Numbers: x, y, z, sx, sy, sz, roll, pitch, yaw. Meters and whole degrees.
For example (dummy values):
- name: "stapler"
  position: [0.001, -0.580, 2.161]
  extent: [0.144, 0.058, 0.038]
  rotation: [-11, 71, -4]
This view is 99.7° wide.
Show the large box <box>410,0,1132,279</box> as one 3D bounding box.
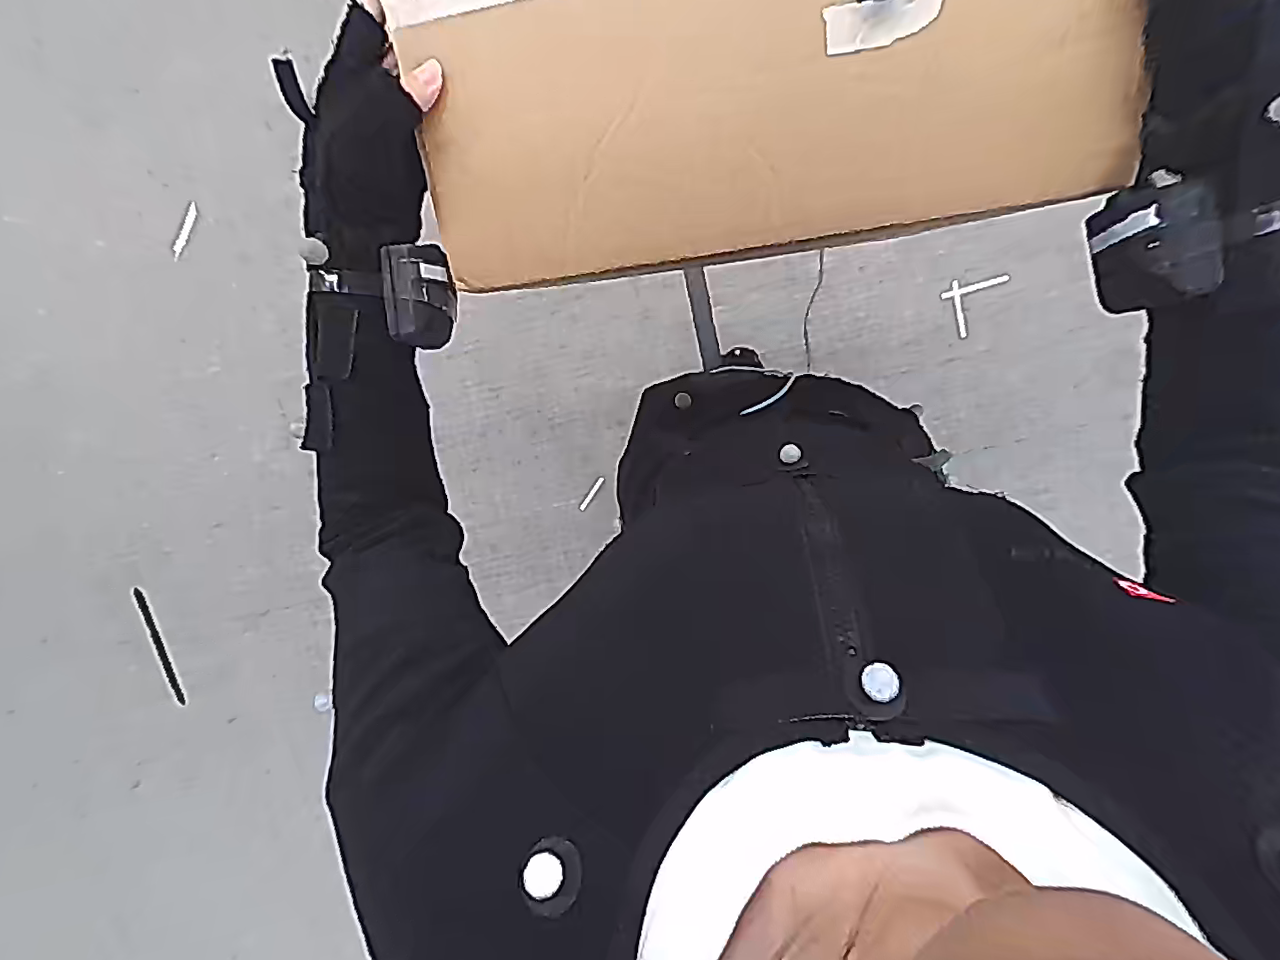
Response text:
- name: "large box"
  position: [0.071, -0.354, 0.432]
  extent: [0.408, 0.320, 0.320]
  rotation: [-6, 110, 9]
